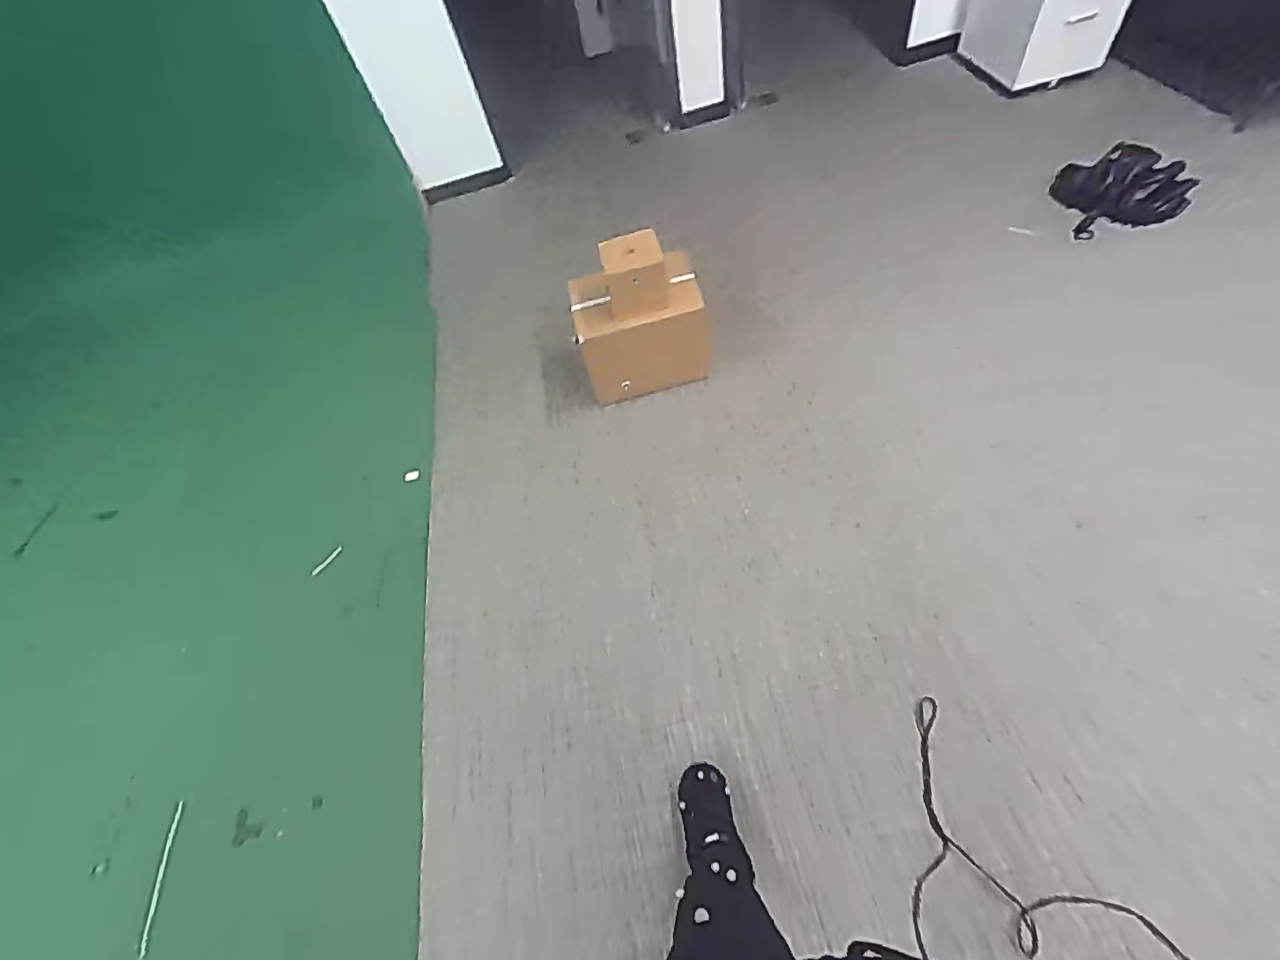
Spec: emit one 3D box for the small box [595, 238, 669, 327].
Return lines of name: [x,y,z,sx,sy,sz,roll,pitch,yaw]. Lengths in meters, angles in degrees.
small box: [-0.021,-0.594,1.642,0.179,0.176,0.168,-16,56,1]
